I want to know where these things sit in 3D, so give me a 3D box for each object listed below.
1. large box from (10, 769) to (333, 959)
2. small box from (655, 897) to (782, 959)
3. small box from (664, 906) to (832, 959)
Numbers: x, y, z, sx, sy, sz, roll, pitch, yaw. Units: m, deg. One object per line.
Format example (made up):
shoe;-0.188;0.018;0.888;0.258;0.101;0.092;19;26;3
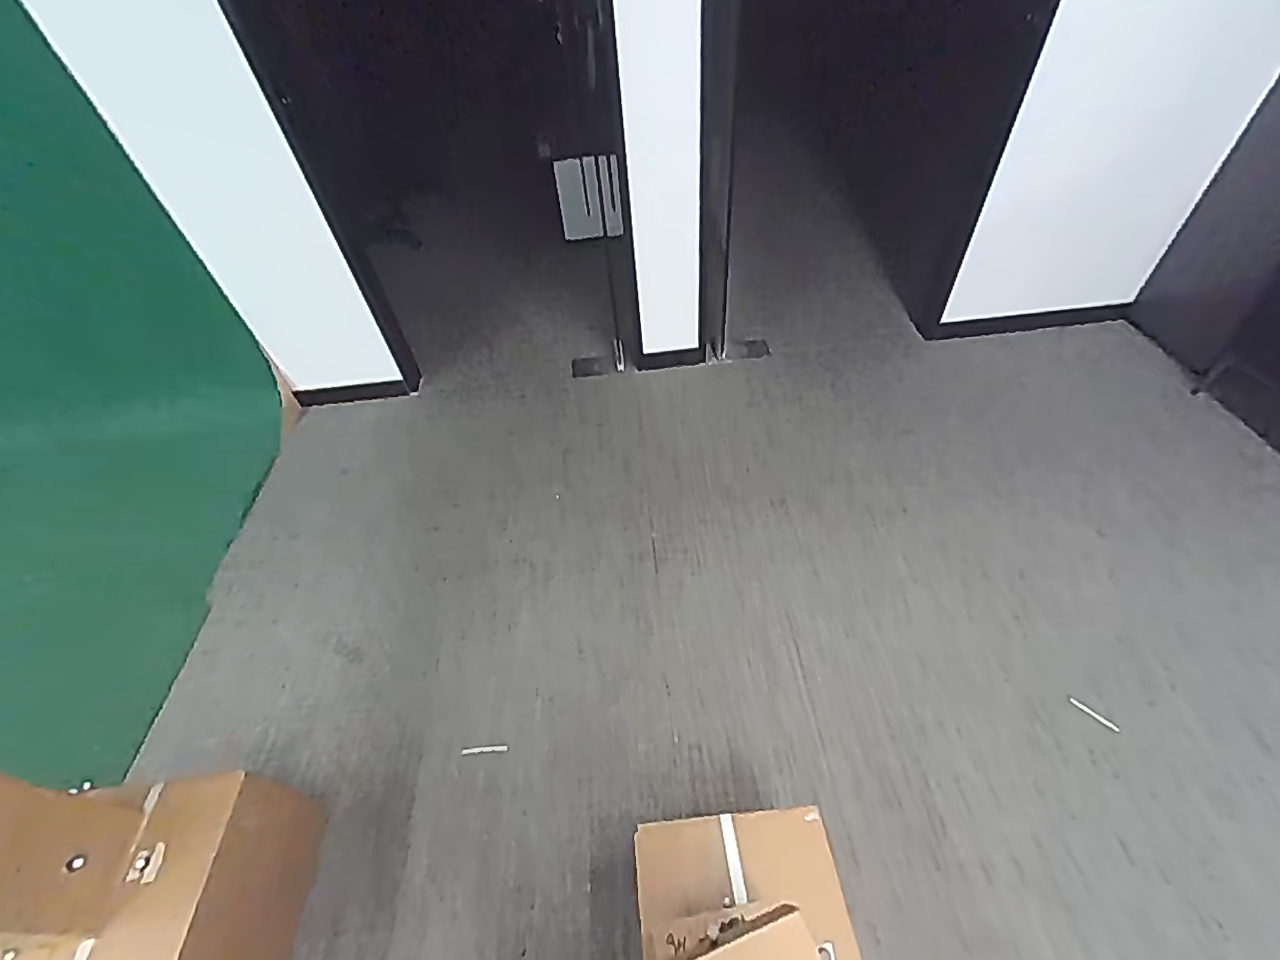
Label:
large box;-0.841;0.812;0.994;0.320;0.320;0.408;-8;47;0
small box;0.121;0.661;0.694;0.168;0.176;0.179;-11;48;-1
small box;0.094;0.481;0.444;0.179;0.176;0.168;-22;53;-4
